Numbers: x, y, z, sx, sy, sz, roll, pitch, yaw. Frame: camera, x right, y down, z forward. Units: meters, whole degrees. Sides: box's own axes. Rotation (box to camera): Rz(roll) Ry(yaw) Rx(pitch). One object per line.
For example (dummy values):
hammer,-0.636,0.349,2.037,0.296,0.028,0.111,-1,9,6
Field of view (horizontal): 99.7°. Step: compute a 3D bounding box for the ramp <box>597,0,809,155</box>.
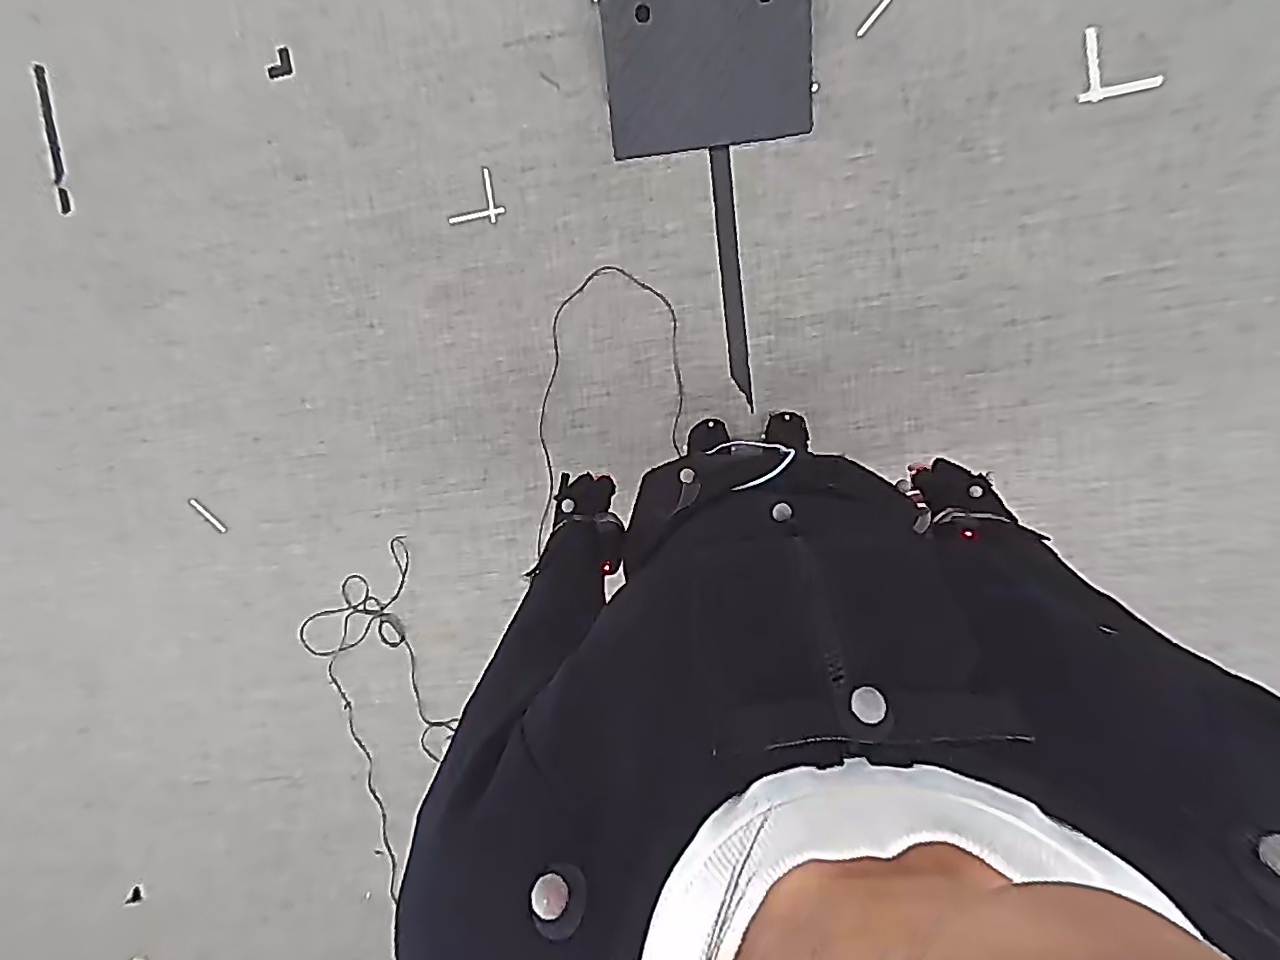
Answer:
ramp,0.122,-1.315,1.202,0.509,0.206,0.991,-6,97,6
